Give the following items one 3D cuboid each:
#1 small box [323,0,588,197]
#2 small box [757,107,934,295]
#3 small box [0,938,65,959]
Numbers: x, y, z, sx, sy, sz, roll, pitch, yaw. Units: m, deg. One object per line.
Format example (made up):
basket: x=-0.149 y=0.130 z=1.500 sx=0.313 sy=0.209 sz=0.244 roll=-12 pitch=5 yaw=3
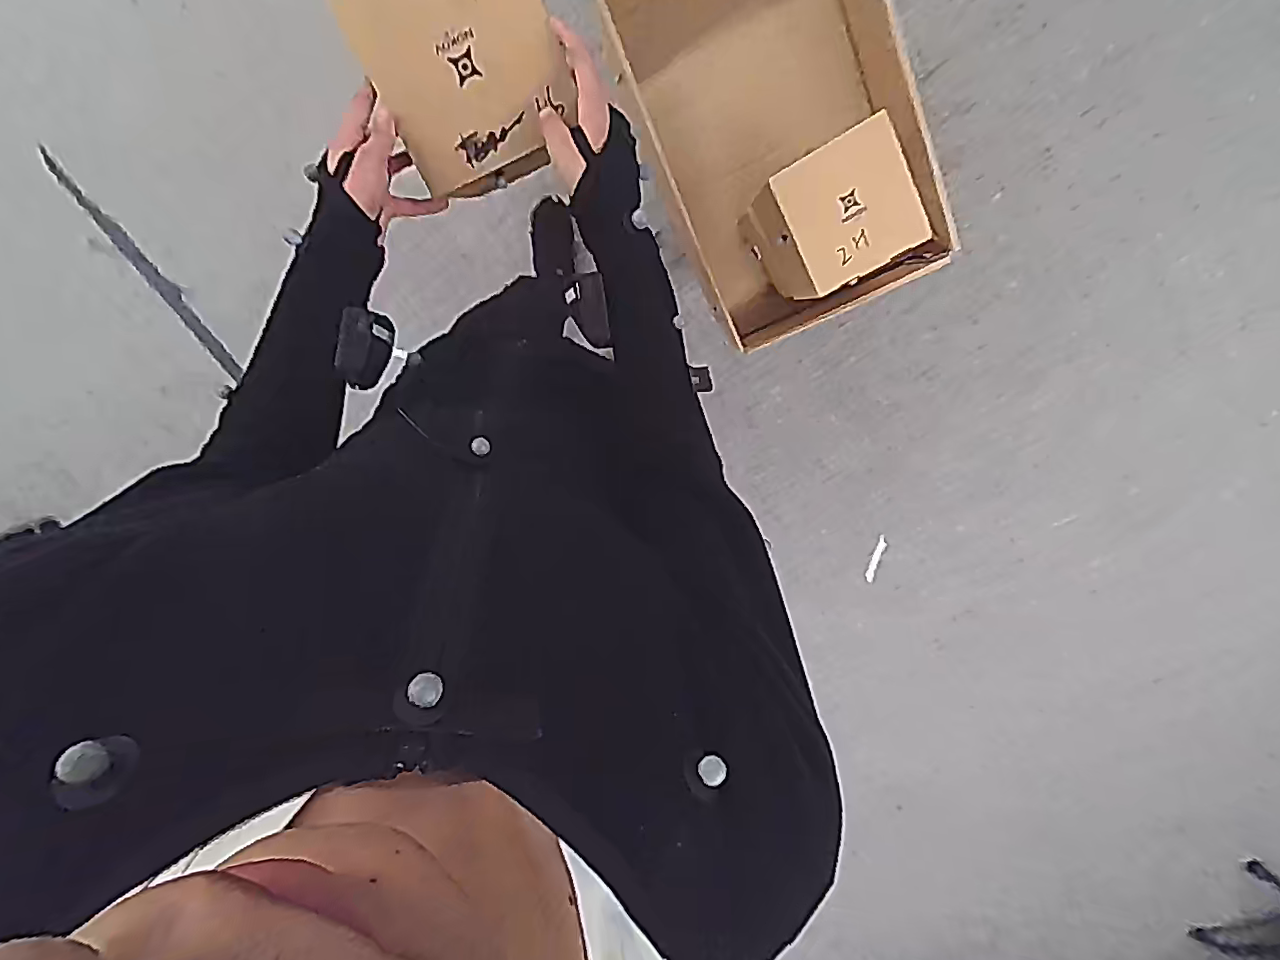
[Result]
small box: x=-0.160 y=-0.397 z=0.528 sx=0.168 sy=0.176 sz=0.179 roll=-20 pitch=117 yaw=9
small box: x=0.285 y=-0.387 z=0.788 sx=0.168 sy=0.176 sz=0.179 roll=-26 pitch=104 yaw=12
small box: x=-1.585 y=1.287 z=1.342 sx=0.168 sy=0.176 sz=0.179 roll=-33 pitch=102 yaw=14
